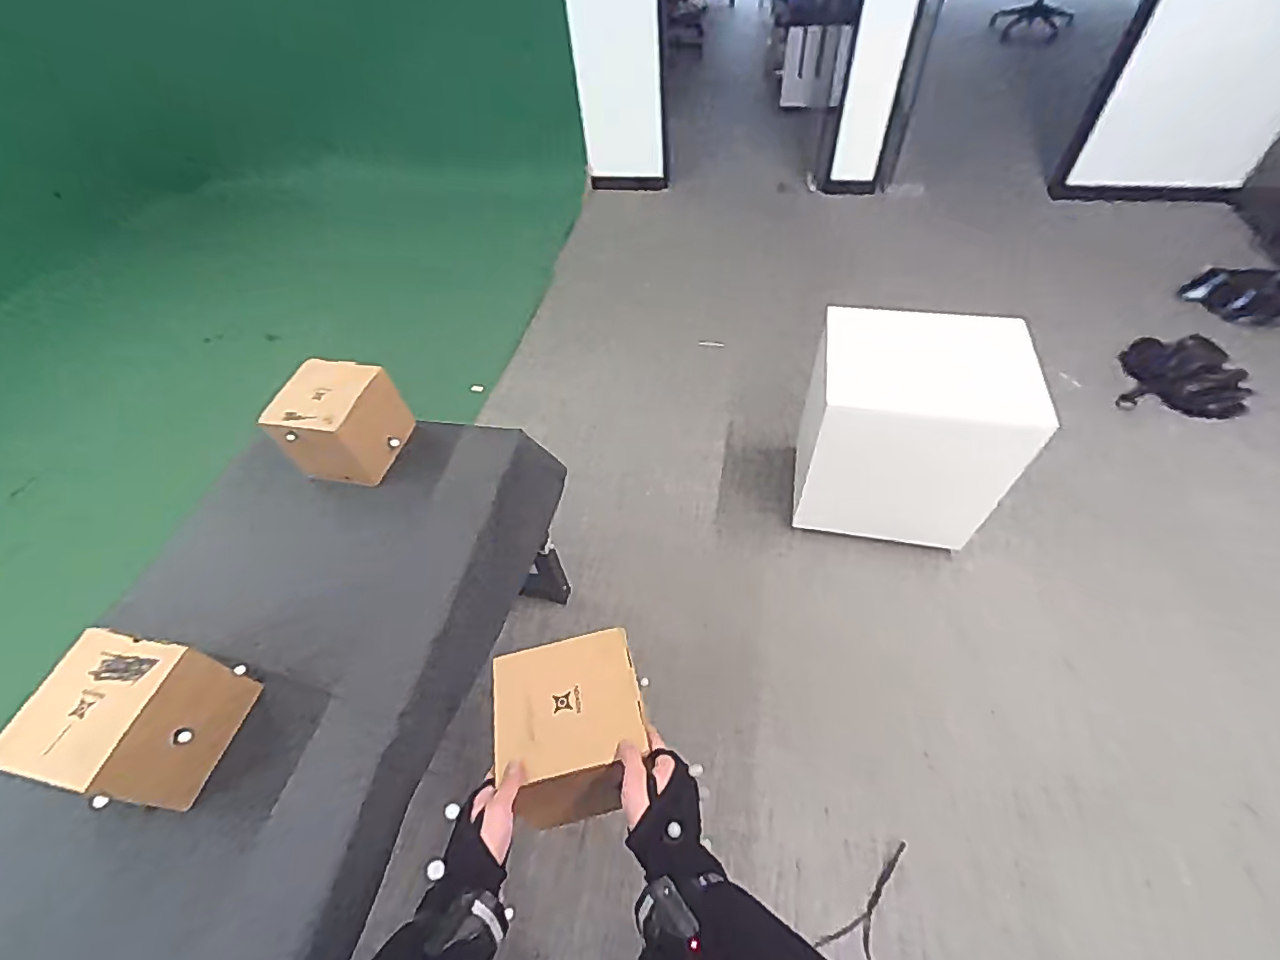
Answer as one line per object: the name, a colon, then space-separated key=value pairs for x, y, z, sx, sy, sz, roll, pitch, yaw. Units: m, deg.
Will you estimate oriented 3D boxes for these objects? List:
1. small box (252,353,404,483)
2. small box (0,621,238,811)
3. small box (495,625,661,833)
small box: x=-0.590 y=-0.120 z=1.057 sx=0.168 sy=0.176 sz=0.179 roll=8 pitch=52 yaw=9
small box: x=-0.689 y=0.315 z=0.719 sx=0.168 sy=0.176 sz=0.179 roll=8 pitch=53 yaw=10
small box: x=-0.075 y=0.317 z=0.688 sx=0.179 sy=0.176 sz=0.168 roll=-14 pitch=42 yaw=-5
